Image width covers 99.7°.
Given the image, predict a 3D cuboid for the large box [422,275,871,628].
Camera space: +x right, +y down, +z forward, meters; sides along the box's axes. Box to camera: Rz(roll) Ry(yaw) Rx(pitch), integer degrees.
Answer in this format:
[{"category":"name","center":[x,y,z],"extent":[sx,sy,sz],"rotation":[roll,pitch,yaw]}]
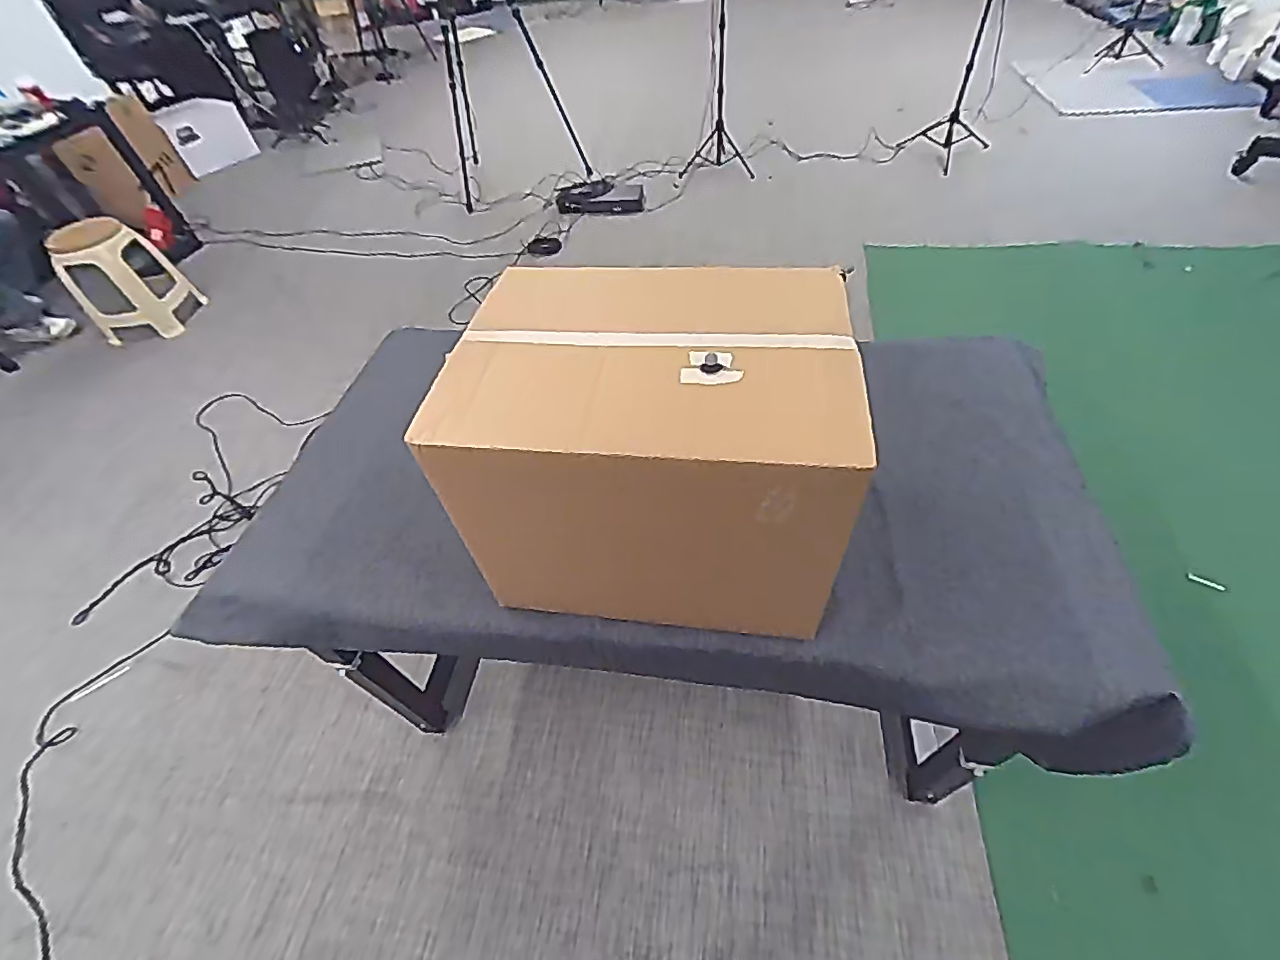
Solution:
[{"category":"large box","center":[0.022,-0.038,0.673],"extent":[0.408,0.320,0.320],"rotation":[4,50,8]}]
